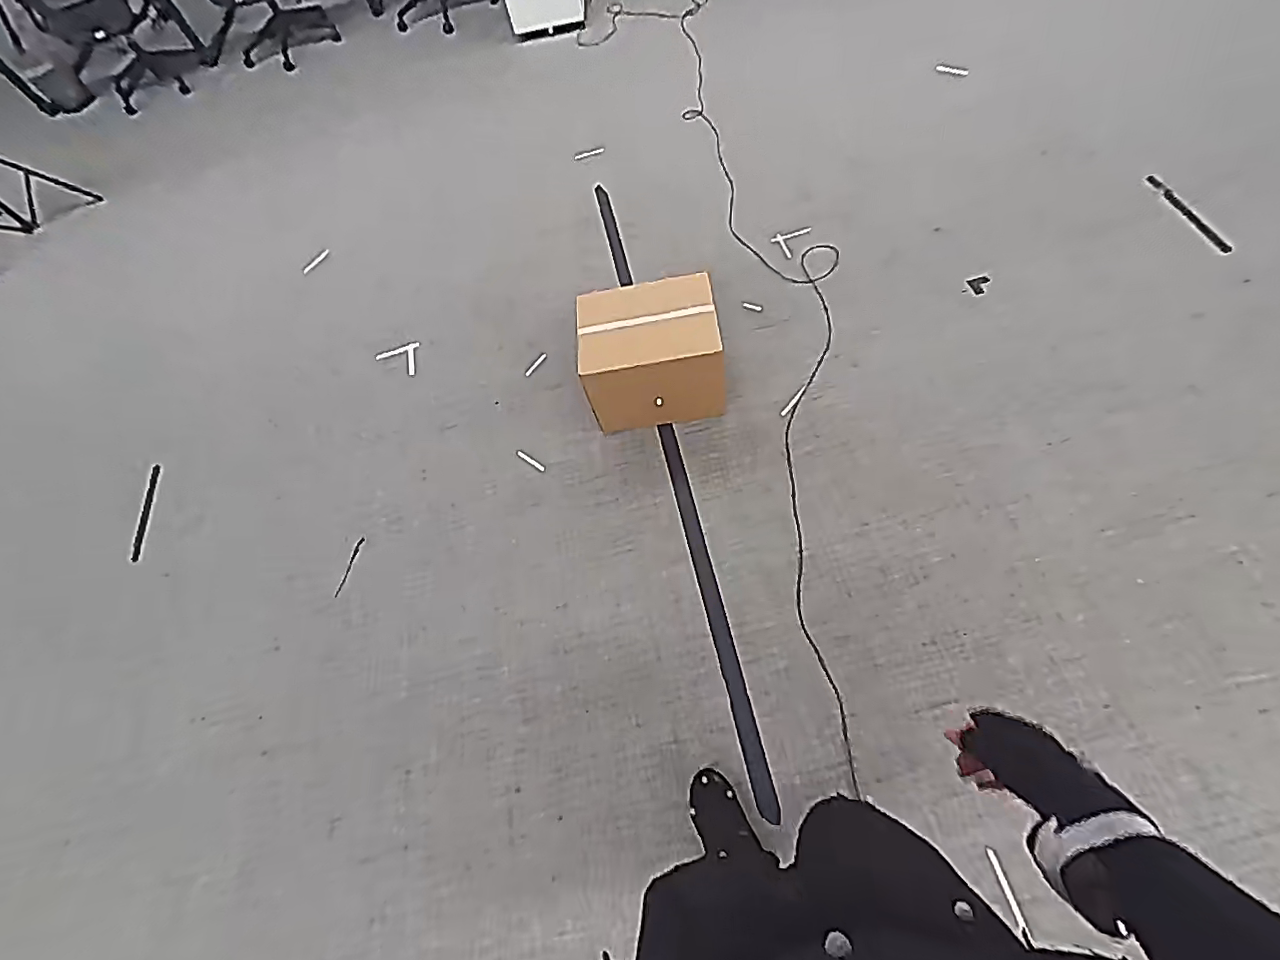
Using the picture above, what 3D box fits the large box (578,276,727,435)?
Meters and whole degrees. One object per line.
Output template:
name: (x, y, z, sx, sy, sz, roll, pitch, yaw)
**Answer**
large box: (0.044, -0.372, 1.675, 0.408, 0.320, 0.320, -9, 62, 6)
